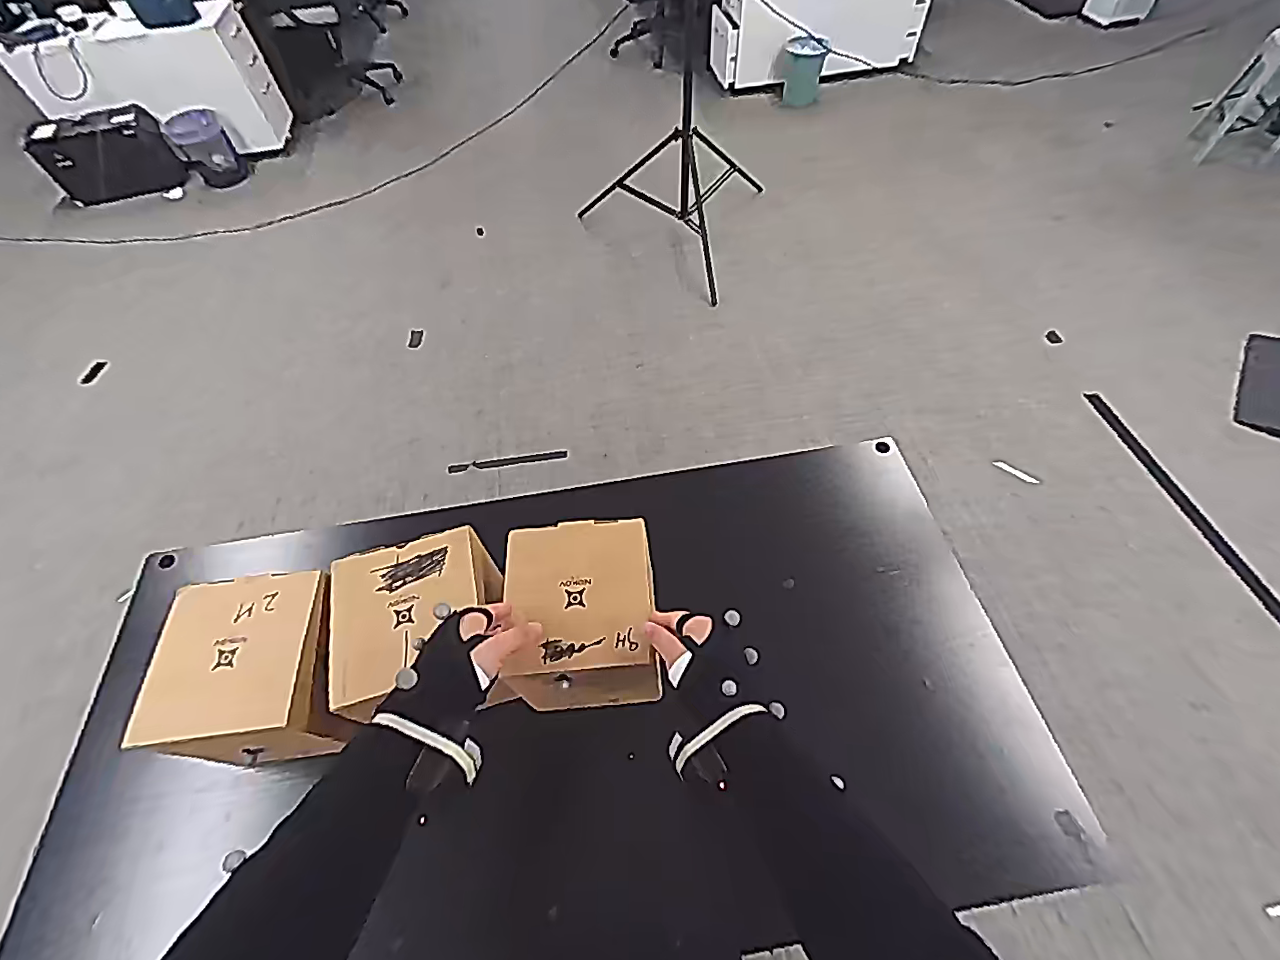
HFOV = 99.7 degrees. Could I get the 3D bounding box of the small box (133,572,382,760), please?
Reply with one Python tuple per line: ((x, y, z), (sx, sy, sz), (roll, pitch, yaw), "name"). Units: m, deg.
((-0.440, 0.233, 0.660), (0.168, 0.176, 0.179), (-7, 56, -2), "small box")
